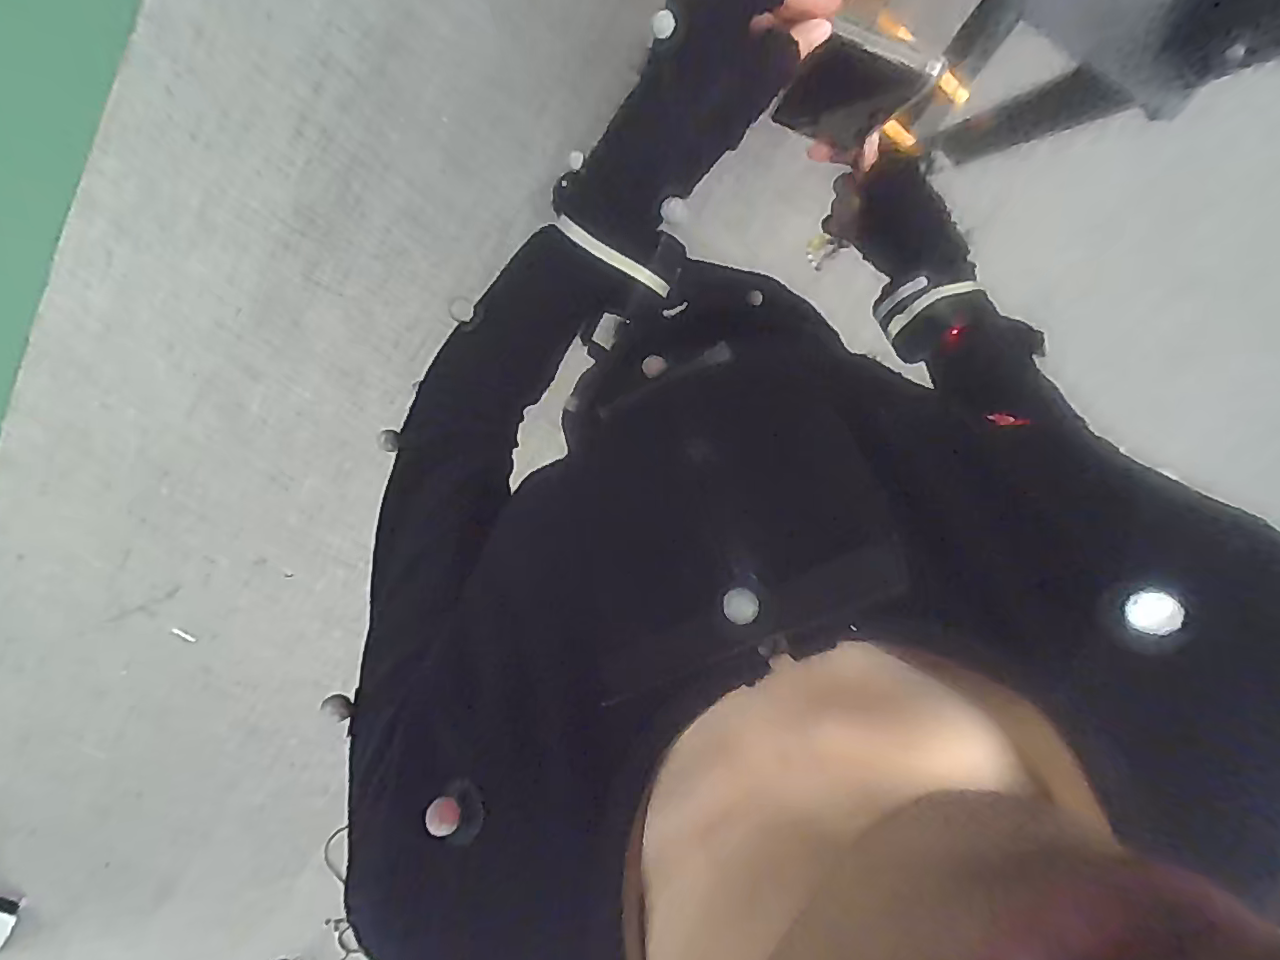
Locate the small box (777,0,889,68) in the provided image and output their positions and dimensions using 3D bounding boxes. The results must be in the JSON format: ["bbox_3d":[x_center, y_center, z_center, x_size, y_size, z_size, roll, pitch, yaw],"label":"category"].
[{"bbox_3d":[0.369,-0.902,0.975,0.168,0.176,0.179,36,106,-14],"label":"small box"}]
